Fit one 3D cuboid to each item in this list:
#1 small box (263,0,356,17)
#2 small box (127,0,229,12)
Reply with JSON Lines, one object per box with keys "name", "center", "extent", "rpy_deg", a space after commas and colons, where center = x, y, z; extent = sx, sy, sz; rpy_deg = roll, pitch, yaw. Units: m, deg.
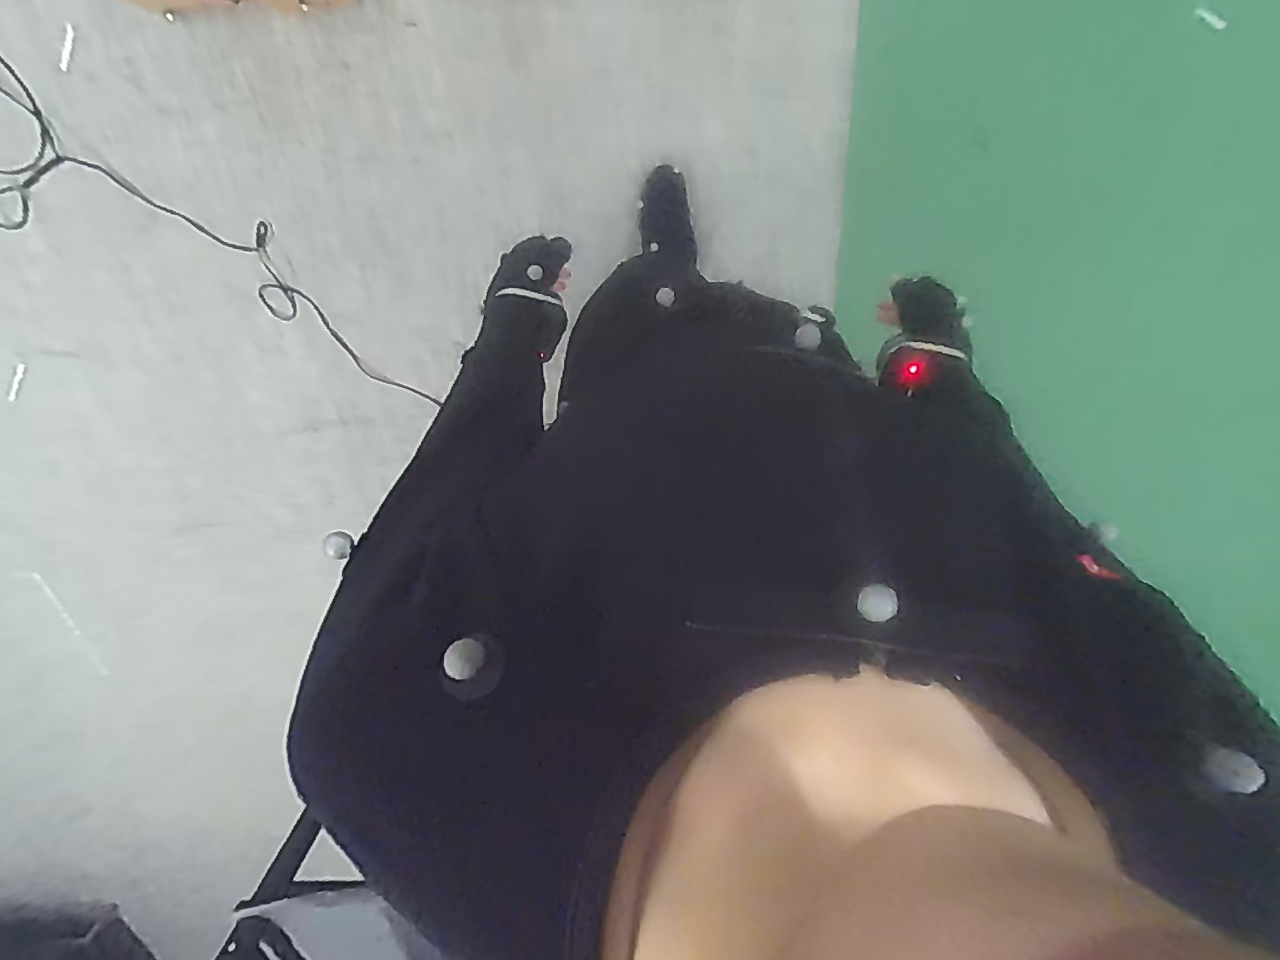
{"name": "small box", "center": [-0.662, -1.000, 0.994], "extent": [0.168, 0.176, 0.179], "rpy_deg": [-8, 117, 6]}
{"name": "small box", "center": [-0.918, -1.003, 0.999], "extent": [0.168, 0.176, 0.179], "rpy_deg": [-5, 115, 4]}
